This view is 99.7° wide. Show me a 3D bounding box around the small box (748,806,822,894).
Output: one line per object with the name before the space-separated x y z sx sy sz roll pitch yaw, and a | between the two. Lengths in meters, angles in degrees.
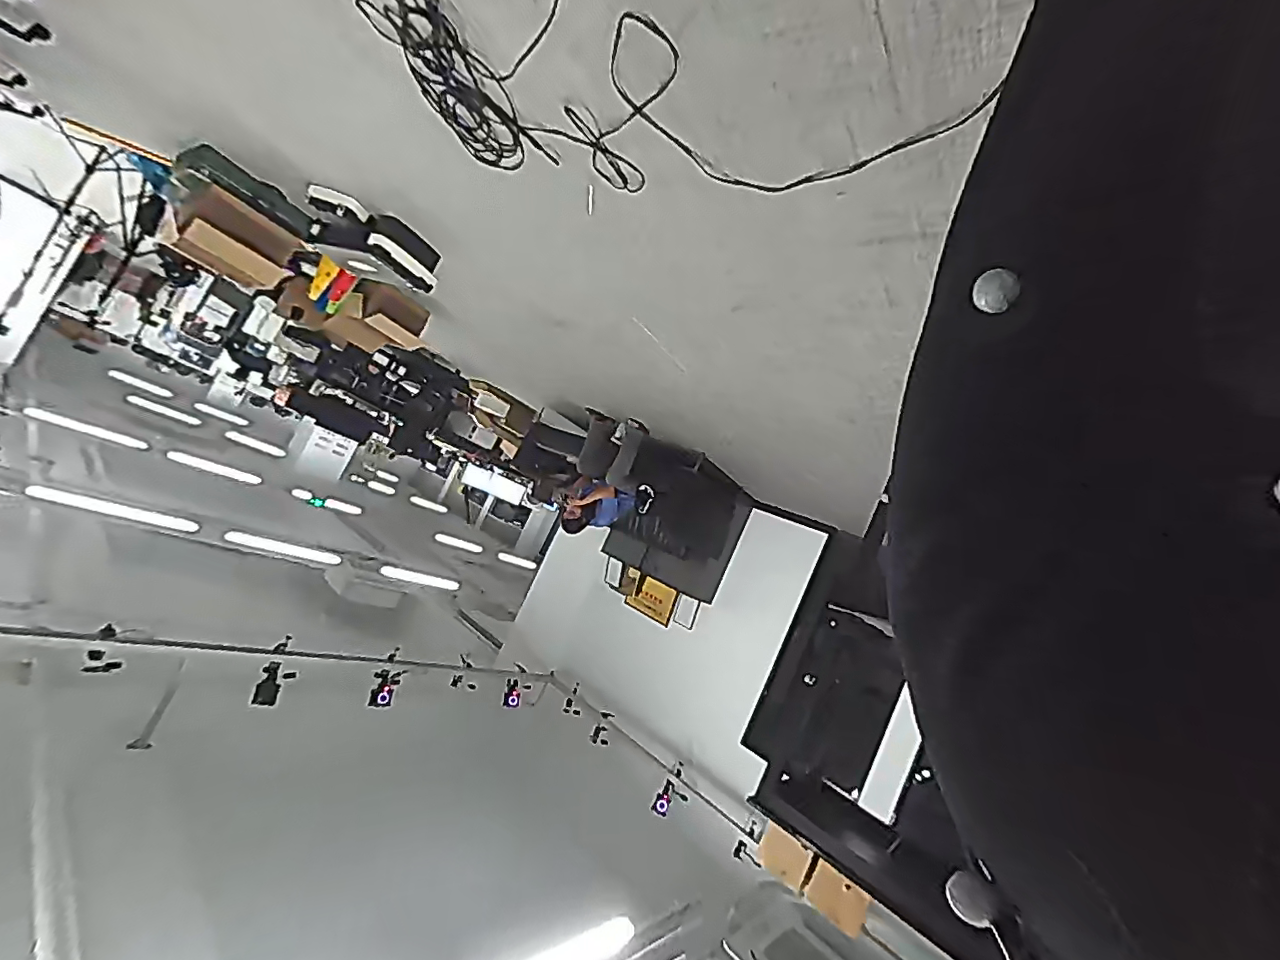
small box | 0.499 1.250 1.843 0.168 0.176 0.179 21 174 37

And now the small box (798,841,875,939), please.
small box | 0.633 1.299 1.730 0.168 0.176 0.179 22 173 36
